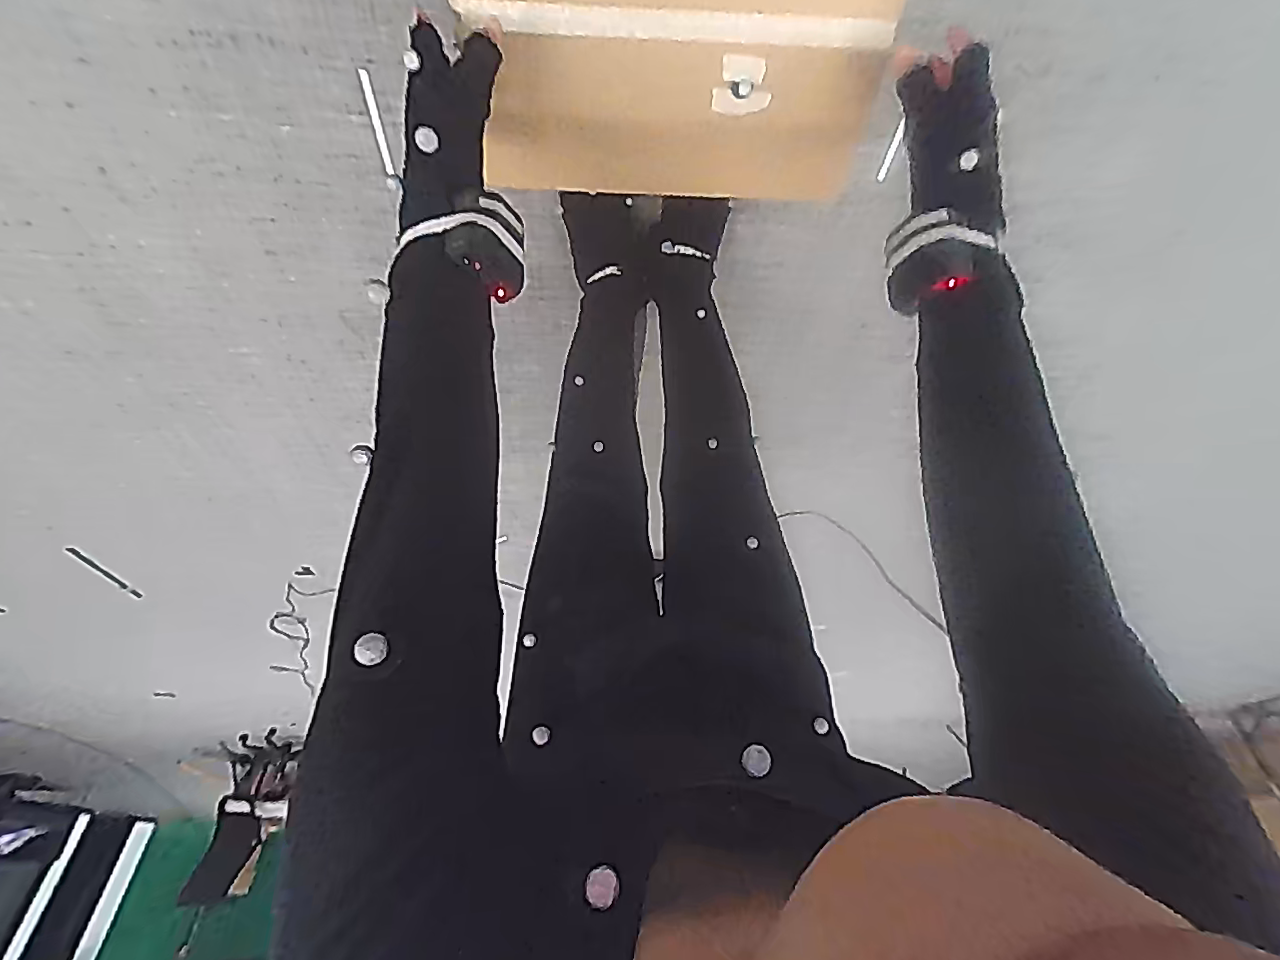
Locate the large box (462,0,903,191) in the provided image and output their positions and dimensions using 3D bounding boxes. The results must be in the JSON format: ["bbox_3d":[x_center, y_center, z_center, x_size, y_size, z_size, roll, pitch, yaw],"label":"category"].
[{"bbox_3d":[0.032,-0.540,0.581,0.408,0.320,0.320,0,144,-3],"label":"large box"}]
